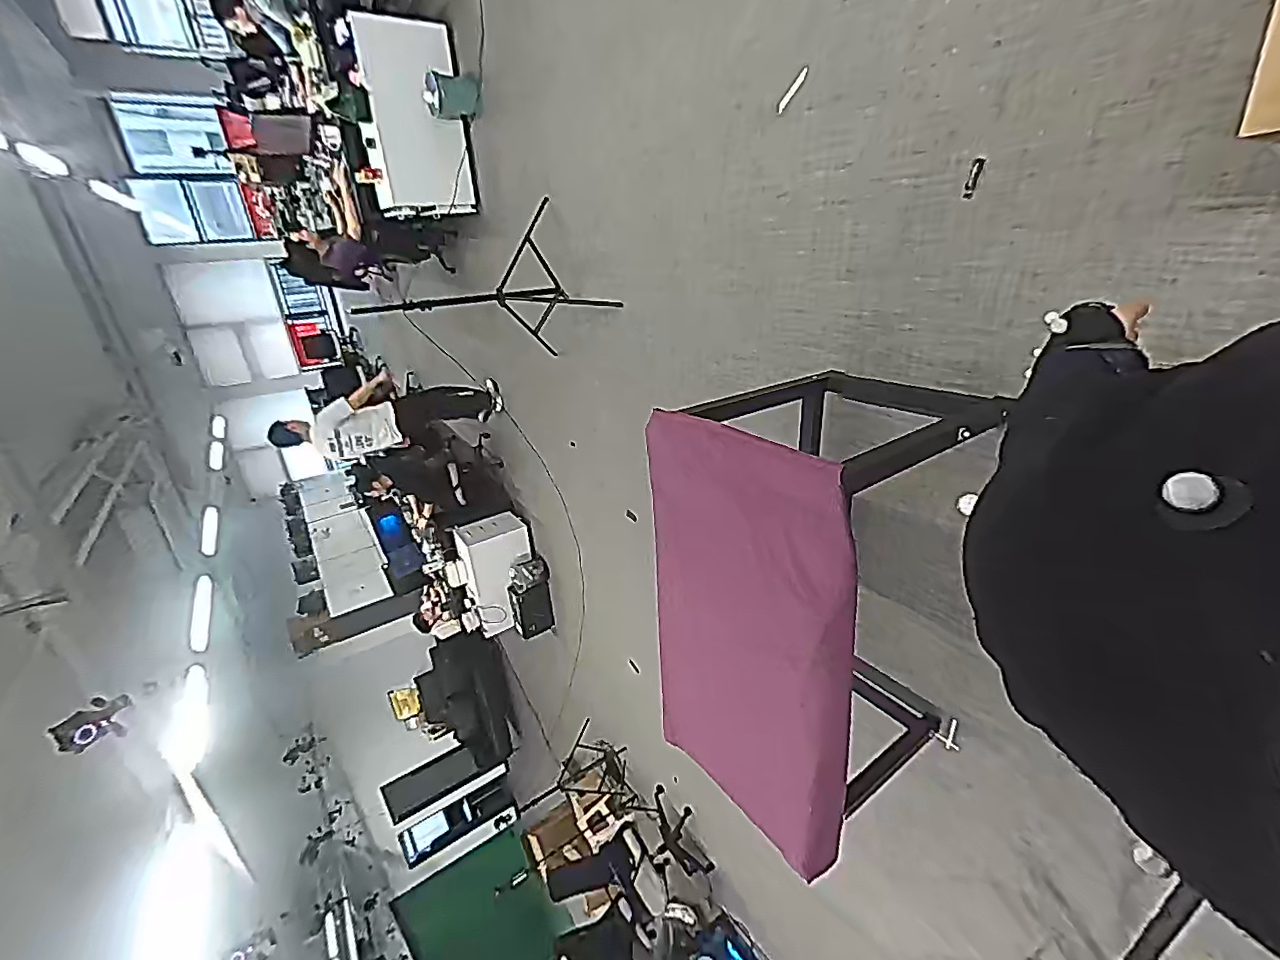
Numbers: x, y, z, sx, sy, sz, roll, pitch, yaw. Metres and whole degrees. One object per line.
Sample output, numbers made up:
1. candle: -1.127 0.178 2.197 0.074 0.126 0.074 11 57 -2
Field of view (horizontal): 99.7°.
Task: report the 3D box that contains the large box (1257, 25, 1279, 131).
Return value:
1. large box: 1.051 -0.684 0.643 0.320 0.320 0.408 25 128 52
